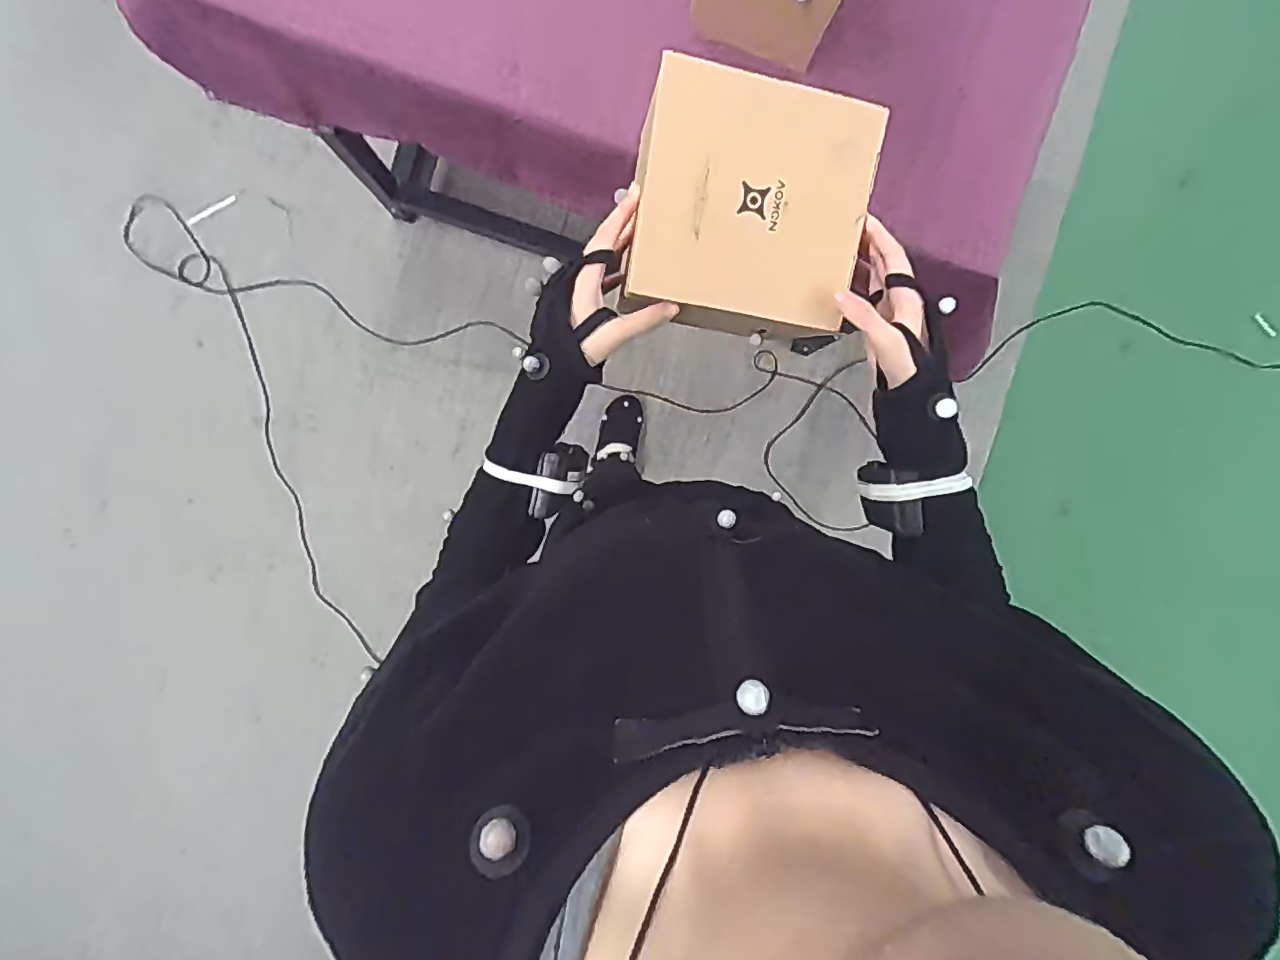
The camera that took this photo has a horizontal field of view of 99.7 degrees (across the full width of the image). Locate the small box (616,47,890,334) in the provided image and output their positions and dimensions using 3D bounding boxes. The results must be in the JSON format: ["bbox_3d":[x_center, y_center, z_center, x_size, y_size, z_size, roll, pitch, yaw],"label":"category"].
[{"bbox_3d":[0.081,-0.229,0.483,0.179,0.176,0.168,8,100,-7],"label":"small box"}]

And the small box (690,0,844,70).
[{"bbox_3d":[0.177,-0.658,0.665,0.179,0.176,0.168,18,91,-4],"label":"small box"}]
